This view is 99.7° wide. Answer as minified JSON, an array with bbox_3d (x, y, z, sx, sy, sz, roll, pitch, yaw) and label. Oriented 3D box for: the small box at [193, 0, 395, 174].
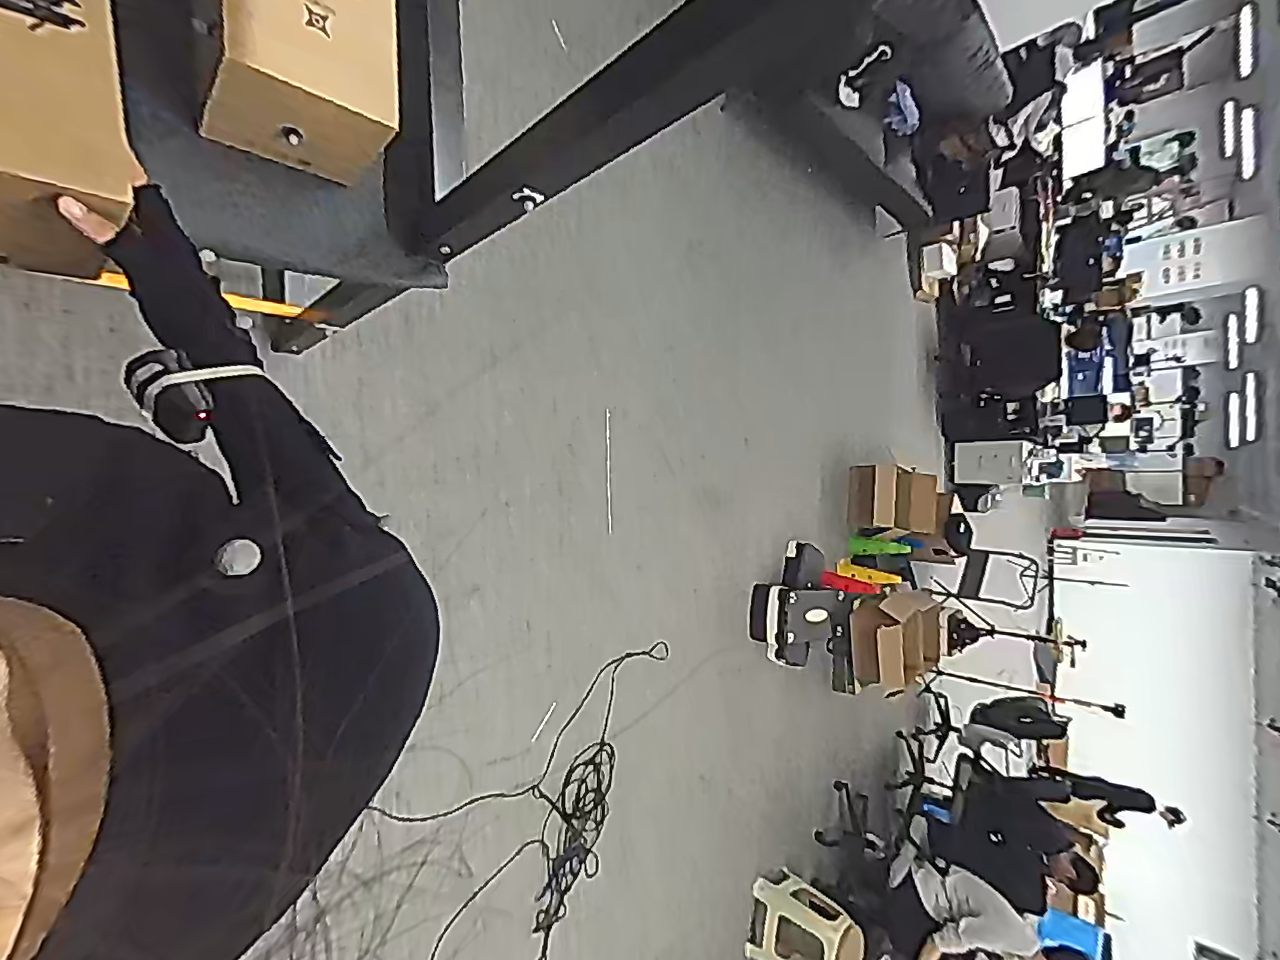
[{"bbox_3d":[-0.400,-0.494,0.626,0.168,0.176,0.179,-2,90,-46],"label":"small box"}]
